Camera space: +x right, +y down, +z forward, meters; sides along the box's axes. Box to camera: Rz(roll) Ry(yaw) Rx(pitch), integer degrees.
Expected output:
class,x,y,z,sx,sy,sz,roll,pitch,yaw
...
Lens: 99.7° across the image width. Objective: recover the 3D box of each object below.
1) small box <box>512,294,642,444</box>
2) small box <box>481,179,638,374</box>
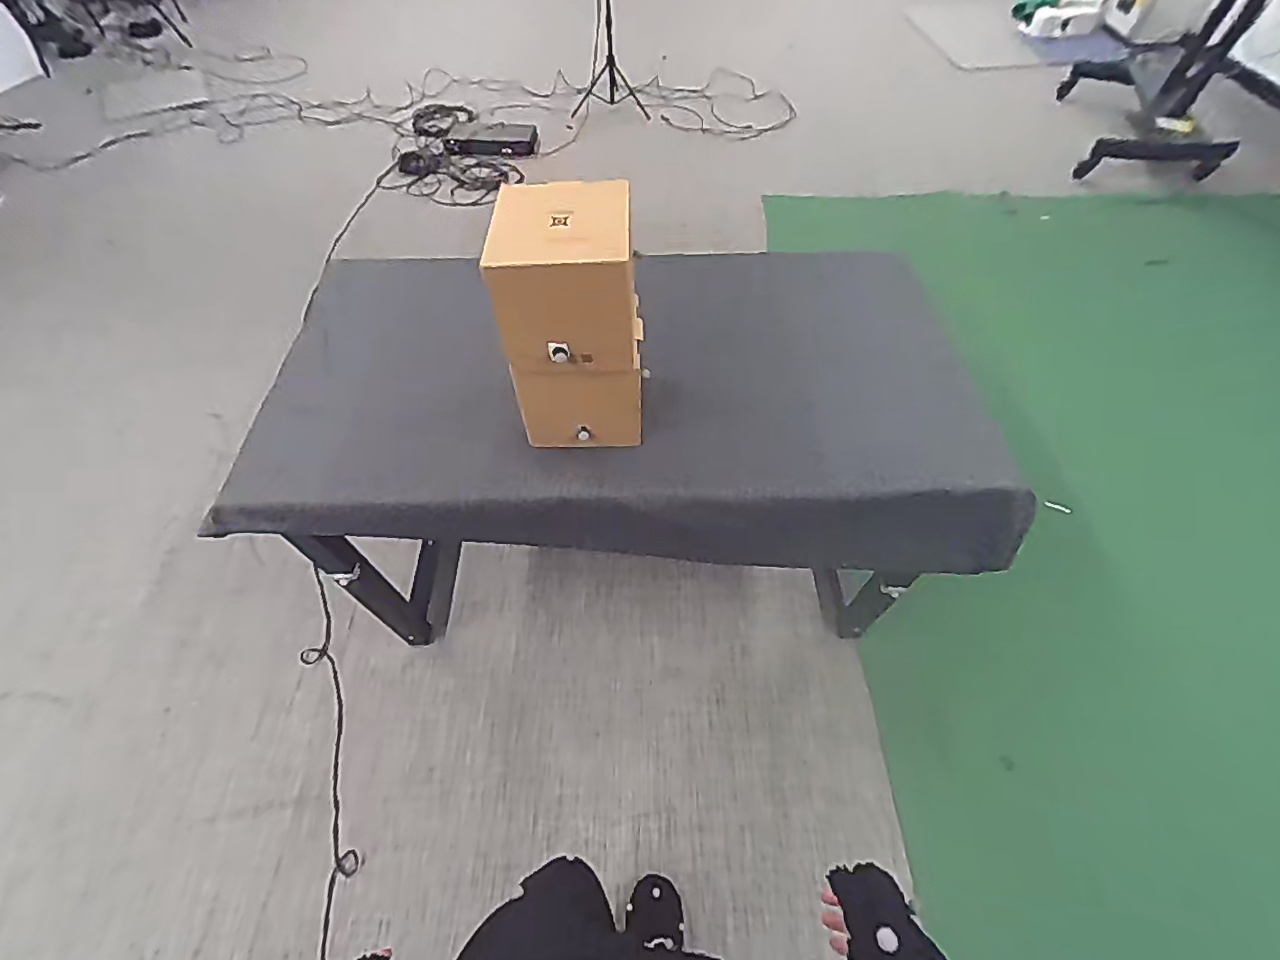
class,x,y,z,sx,sy,sz,roll,pitch,yaw
small box,-0.085,-0.168,0.835,0.179,0.176,0.168,0,55,1
small box,-0.090,-0.259,0.700,0.168,0.176,0.179,-2,57,2
